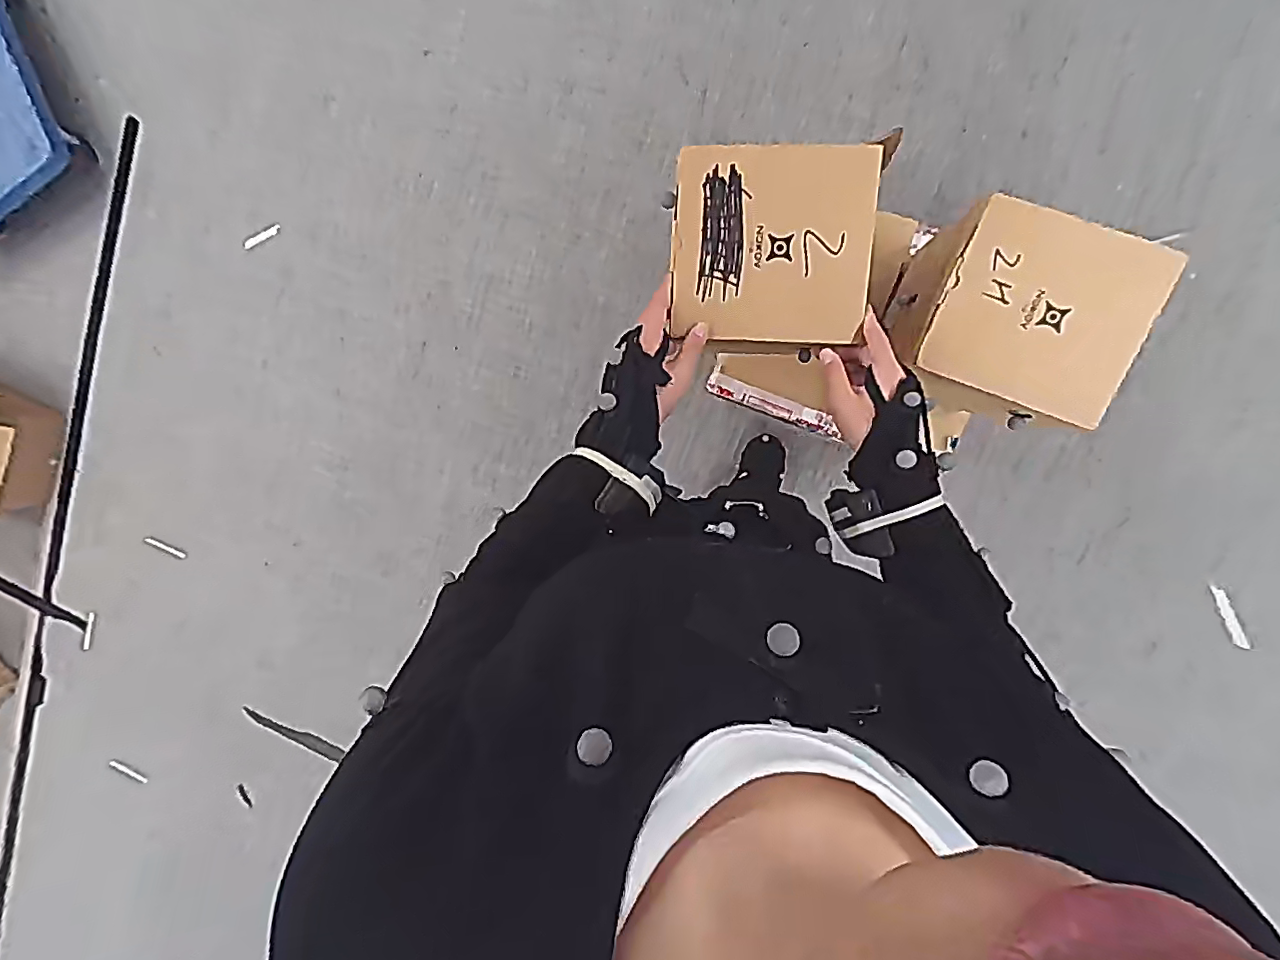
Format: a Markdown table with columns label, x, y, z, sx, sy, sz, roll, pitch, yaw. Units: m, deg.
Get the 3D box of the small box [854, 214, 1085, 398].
| label | x | y | z | sx | sy | sz | roll | pitch | yaw |
| --- | --- | --- | --- | --- | --- | --- | --- | --- | --- |
| small box | 0.408 | -0.214 | 0.712 | 0.179 | 0.176 | 0.168 | 24 | 102 | 6 |
